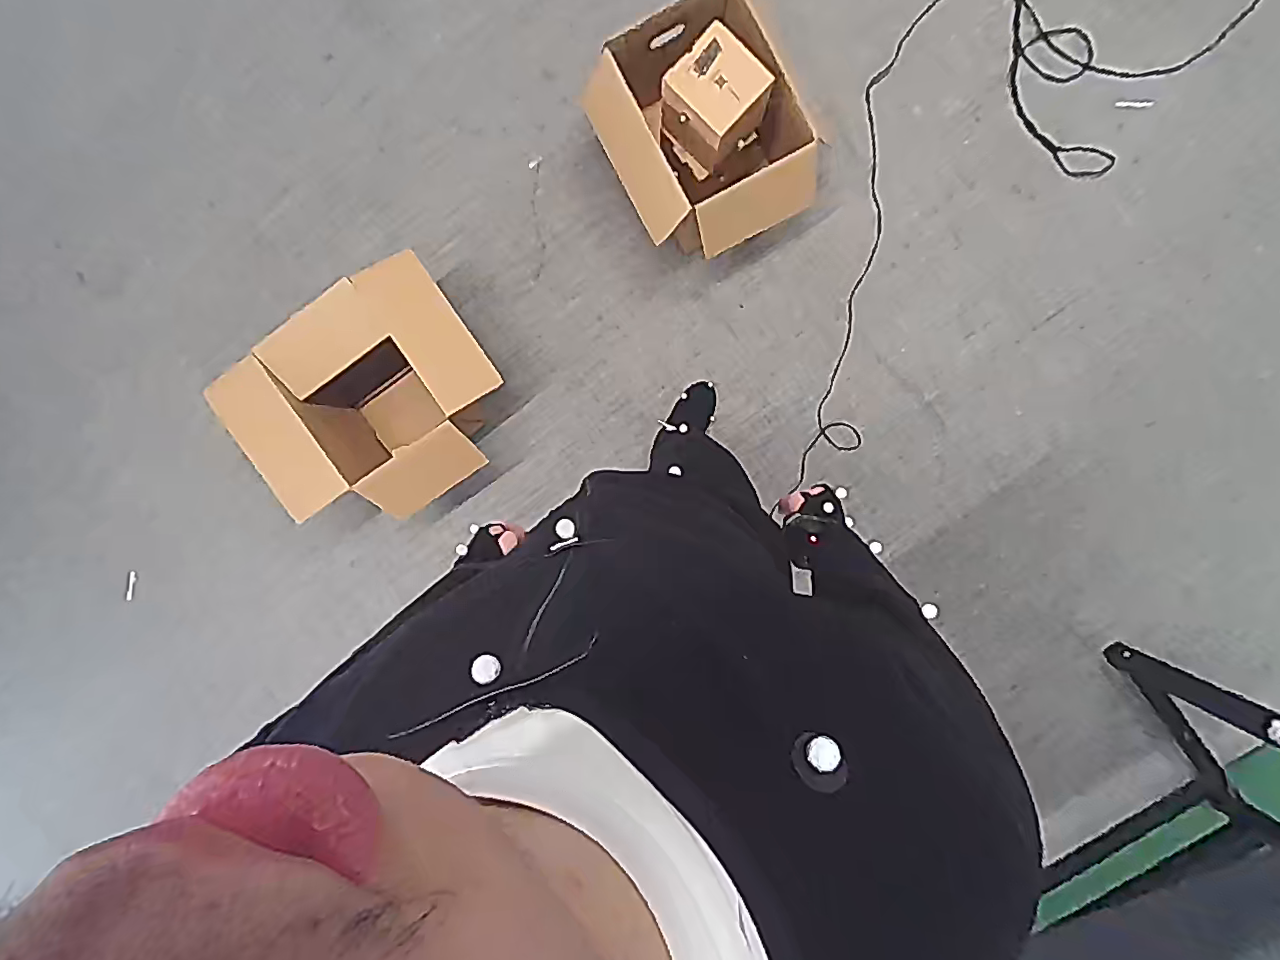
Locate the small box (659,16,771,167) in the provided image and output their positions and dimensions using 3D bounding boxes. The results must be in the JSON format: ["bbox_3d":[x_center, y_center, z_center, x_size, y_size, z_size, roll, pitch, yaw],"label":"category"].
[{"bbox_3d":[0.159,-0.847,1.201,0.168,0.176,0.179,-42,91,6],"label":"small box"}]
